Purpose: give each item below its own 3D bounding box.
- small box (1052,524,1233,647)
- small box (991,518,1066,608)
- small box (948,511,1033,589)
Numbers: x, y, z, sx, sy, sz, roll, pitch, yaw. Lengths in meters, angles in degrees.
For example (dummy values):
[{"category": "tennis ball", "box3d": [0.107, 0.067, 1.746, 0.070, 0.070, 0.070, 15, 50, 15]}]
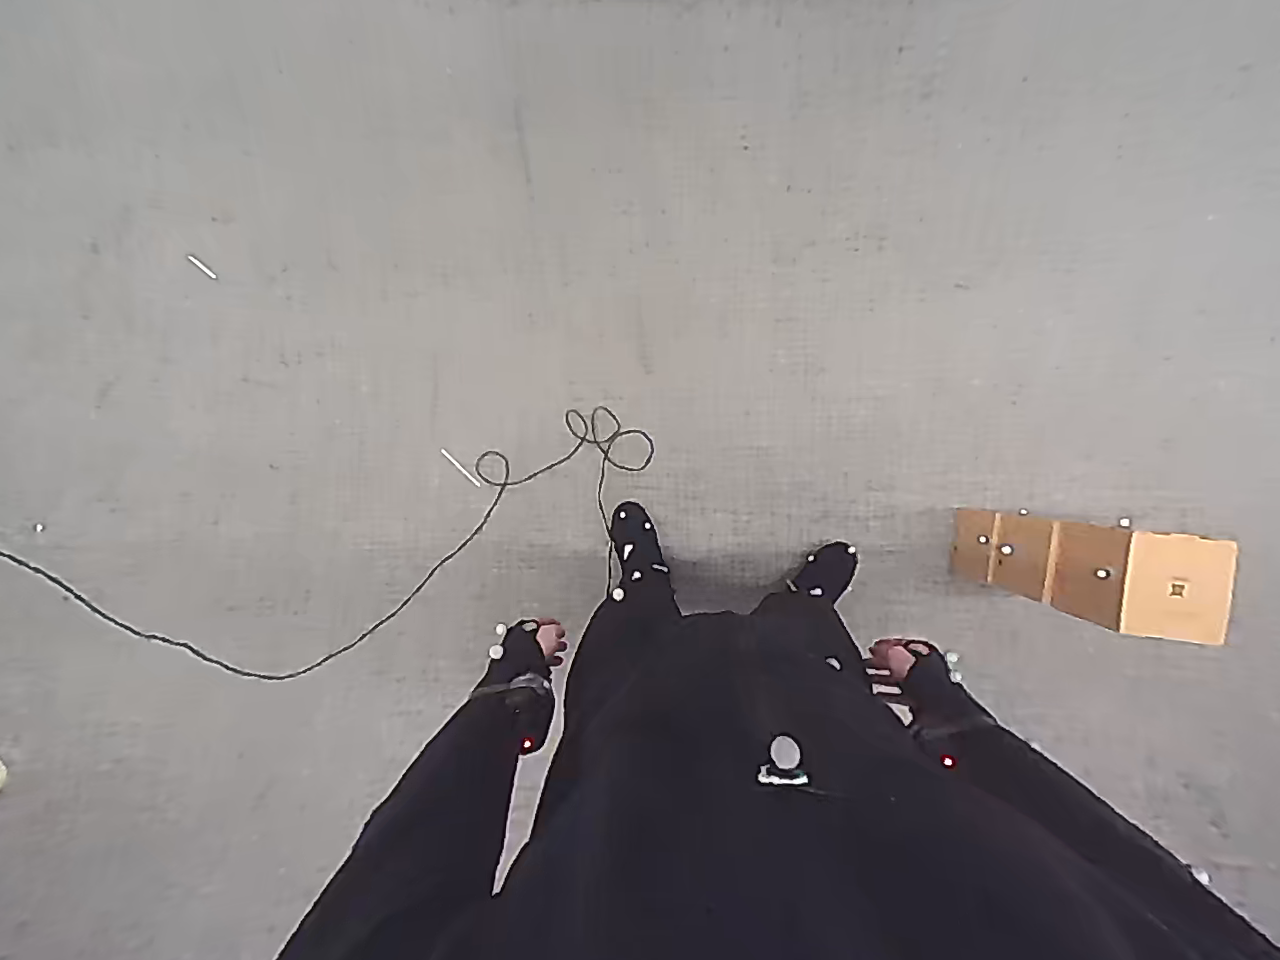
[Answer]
[{"category": "small box", "box3d": [0.883, 0.177, 0.968, 0.168, 0.176, 0.179, 6, 93, 4]}, {"category": "small box", "box3d": [0.881, 0.176, 1.130, 0.179, 0.176, 0.168, 8, 91, 3]}, {"category": "small box", "box3d": [0.879, 0.170, 1.295, 0.179, 0.176, 0.168, 7, 92, 2]}]
